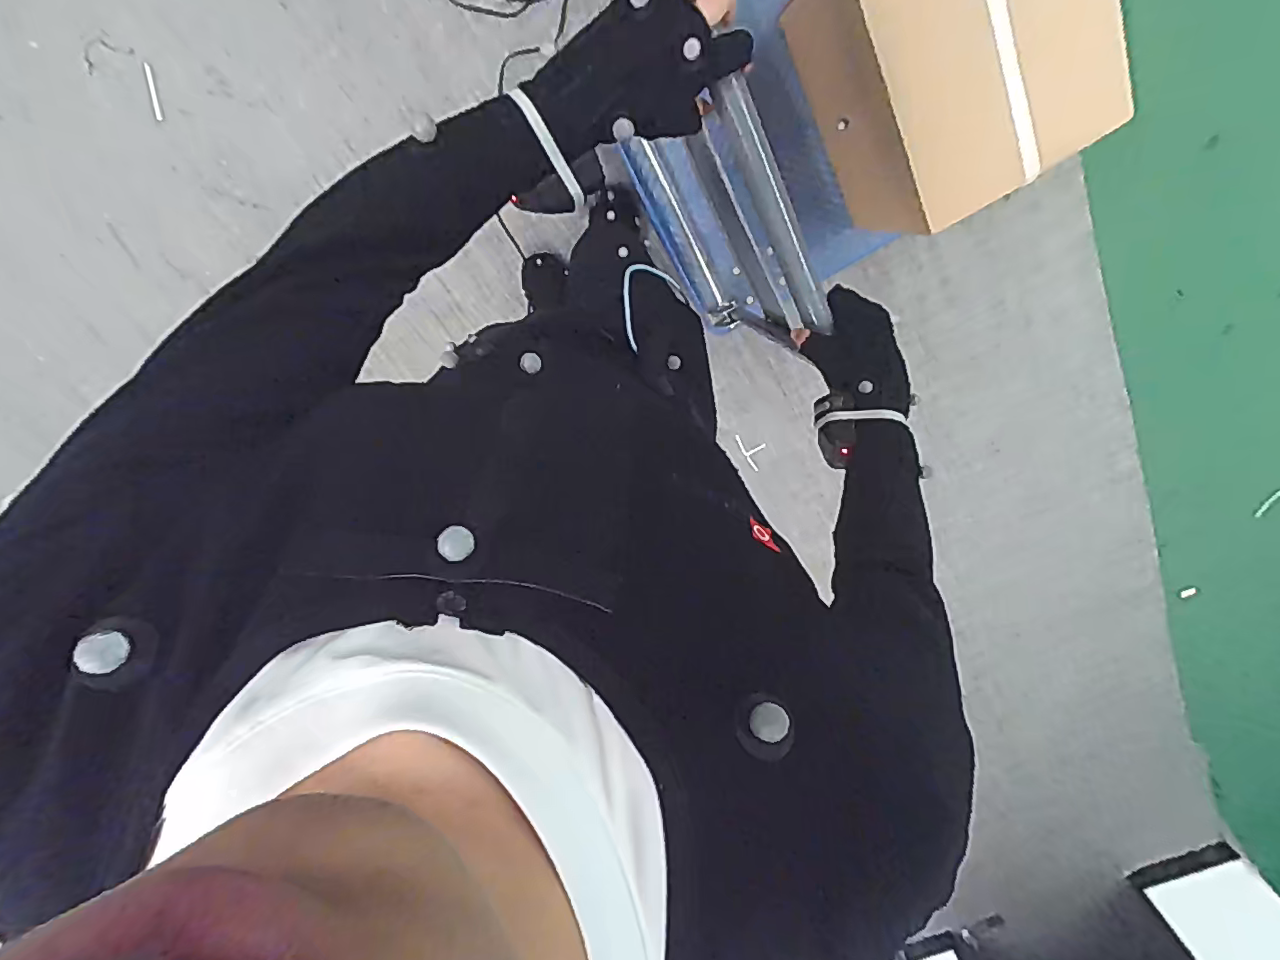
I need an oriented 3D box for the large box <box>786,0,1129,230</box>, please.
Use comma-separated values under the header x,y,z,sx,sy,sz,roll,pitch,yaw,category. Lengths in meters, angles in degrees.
x,y,z,sx,sy,sz,roll,pitch,yaw,category
0.491,-0.685,0.888,0.320,0.320,0.408,-29,114,11,large box
